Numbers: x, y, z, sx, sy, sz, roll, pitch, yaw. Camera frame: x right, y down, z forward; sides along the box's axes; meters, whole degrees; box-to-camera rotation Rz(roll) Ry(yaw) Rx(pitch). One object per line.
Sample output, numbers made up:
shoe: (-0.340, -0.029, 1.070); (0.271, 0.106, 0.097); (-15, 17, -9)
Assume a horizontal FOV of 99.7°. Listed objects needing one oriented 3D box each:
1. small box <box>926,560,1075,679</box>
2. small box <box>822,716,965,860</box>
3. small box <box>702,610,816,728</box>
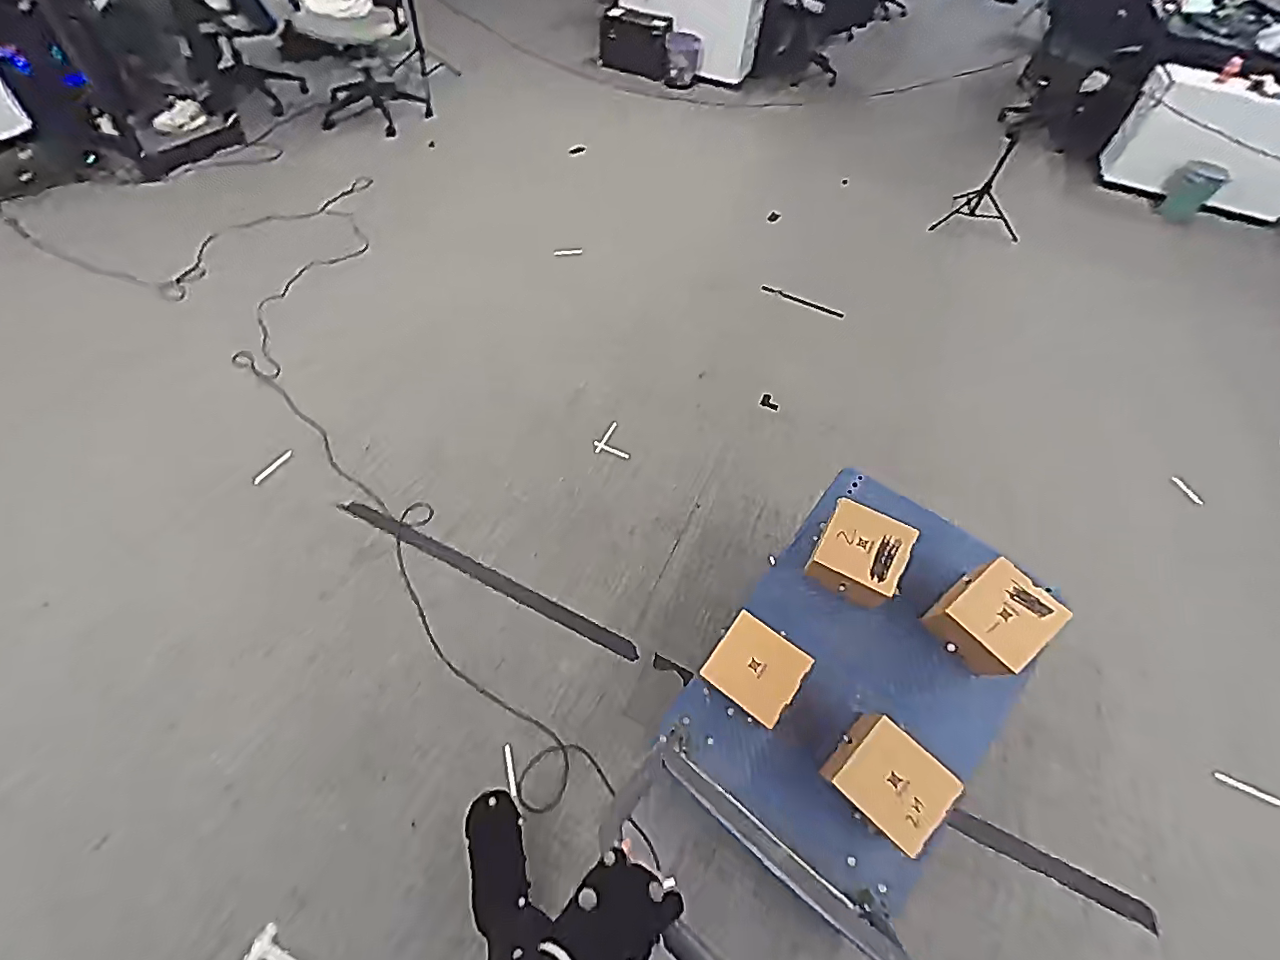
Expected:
small box: (0.751, 0.301, 1.151); (0.179, 0.176, 0.168); (-40, 68, -7)
small box: (0.487, 0.596, 1.071); (0.179, 0.176, 0.168); (41, 80, 21)
small box: (0.250, 0.413, 1.180); (0.179, 0.176, 0.168); (35, 77, 18)
